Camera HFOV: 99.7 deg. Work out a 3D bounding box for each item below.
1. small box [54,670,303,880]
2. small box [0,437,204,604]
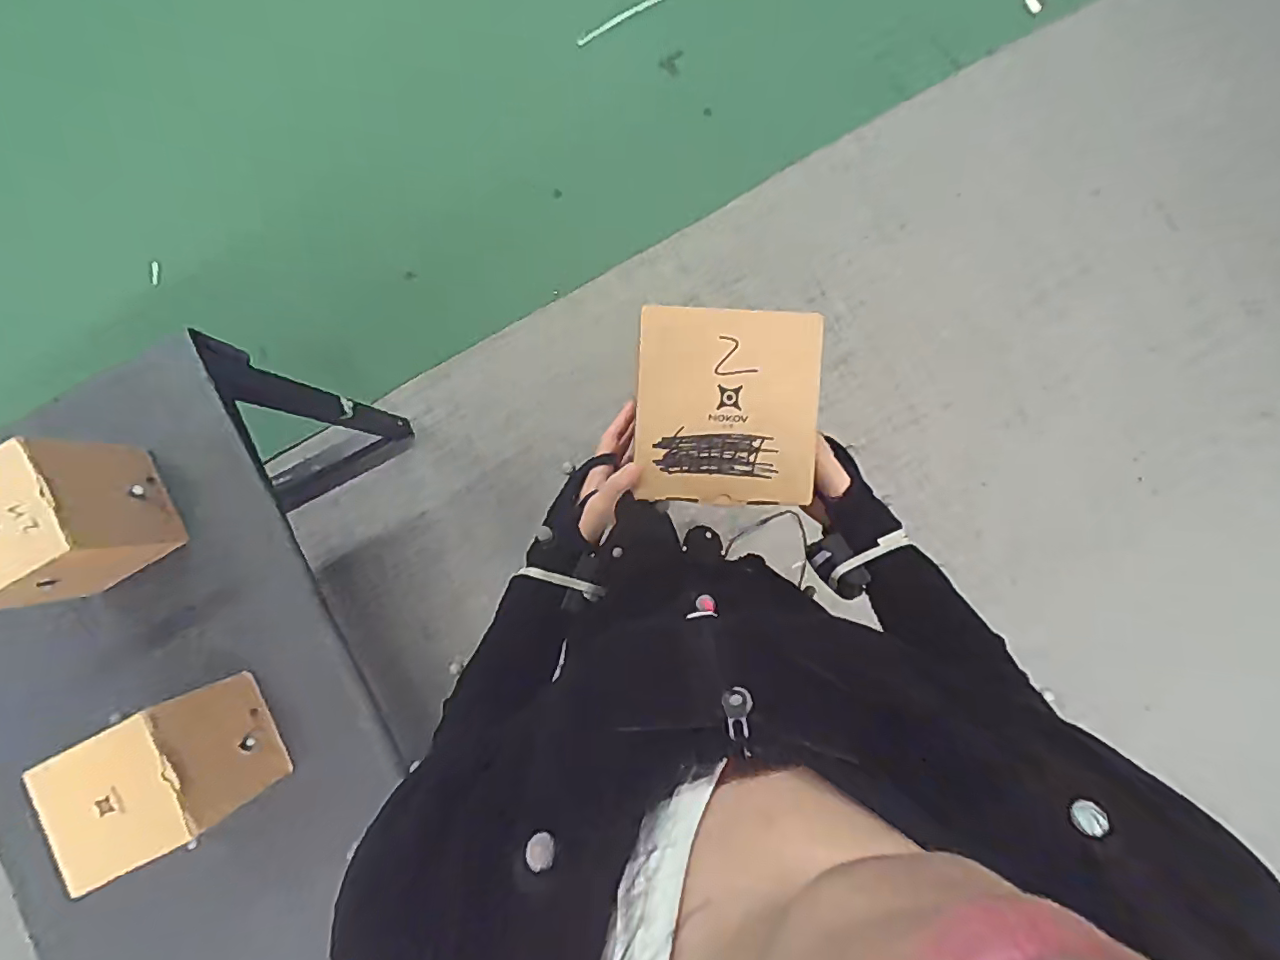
[{"bbox_3d":[-0.623,0.392,0.751,0.179,0.176,0.168,-28,85,3],"label":"small box"},{"bbox_3d":[-0.799,0.059,0.780,0.179,0.176,0.168,-29,86,3],"label":"small box"}]
